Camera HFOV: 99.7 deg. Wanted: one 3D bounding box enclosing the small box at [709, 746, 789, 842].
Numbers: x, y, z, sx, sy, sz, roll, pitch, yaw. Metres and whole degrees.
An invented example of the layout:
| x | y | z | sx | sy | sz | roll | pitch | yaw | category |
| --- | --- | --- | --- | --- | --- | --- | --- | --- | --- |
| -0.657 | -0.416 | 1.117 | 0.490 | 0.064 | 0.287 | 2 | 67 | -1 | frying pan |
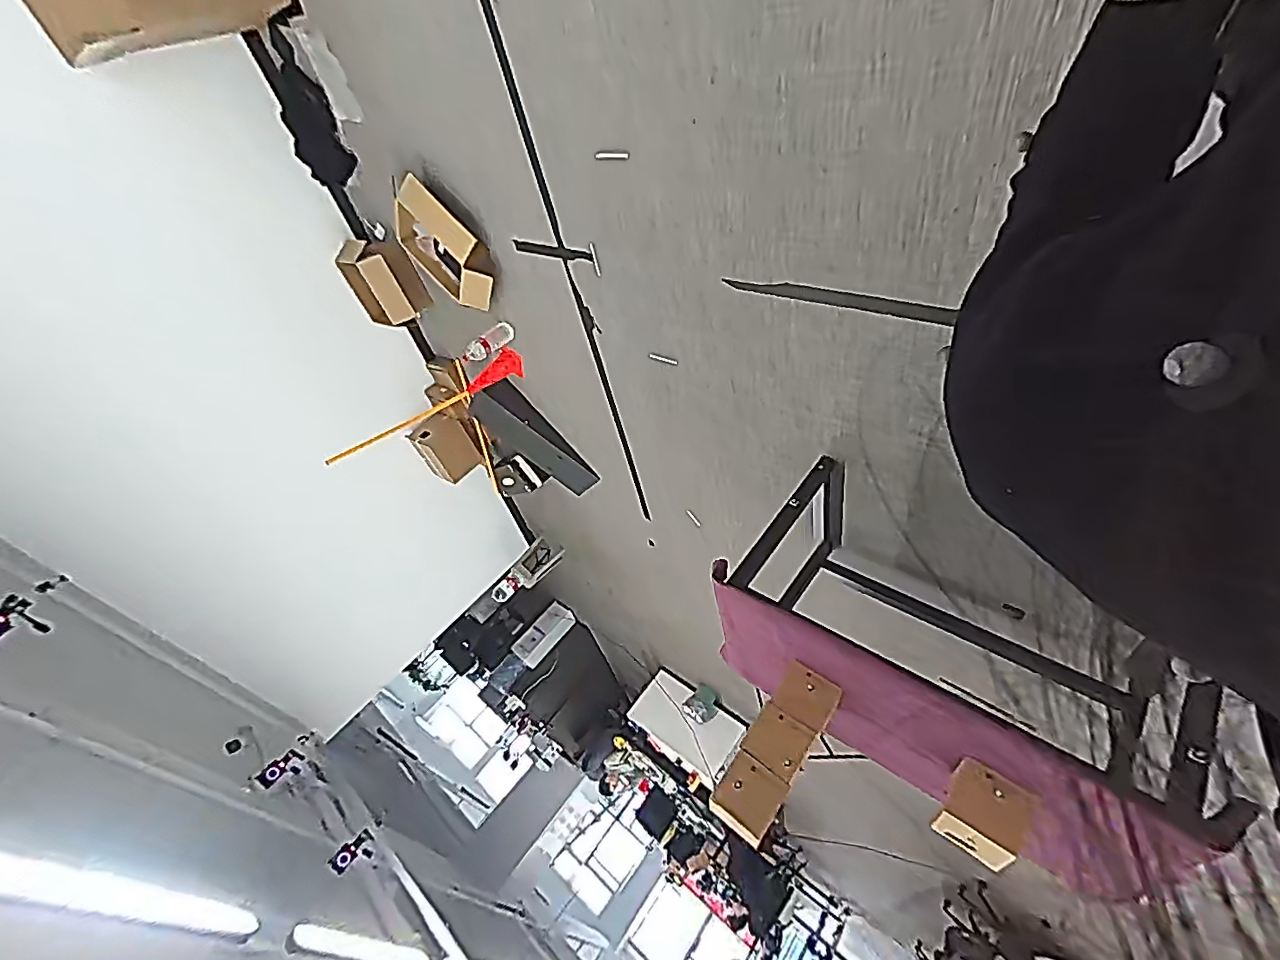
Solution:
| x | y | z | sx | sy | sz | roll | pitch | yaw | category |
| --- | --- | --- | --- | --- | --- | --- | --- | --- | --- |
| 0.317 | 0.910 | 1.574 | 0.168 | 0.176 | 0.179 | 30 | 151 | 29 | small box |

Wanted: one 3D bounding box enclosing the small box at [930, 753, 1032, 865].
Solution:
| x | y | z | sx | sy | sz | roll | pitch | yaw | category |
| --- | --- | --- | --- | --- | --- | --- | --- | --- | --- |
| 0.895 | 0.861 | 1.422 | 0.168 | 0.176 | 0.179 | 26 | 147 | 33 | small box |

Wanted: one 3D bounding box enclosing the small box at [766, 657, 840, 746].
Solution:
| x | y | z | sx | sy | sz | roll | pitch | yaw | category |
| --- | --- | --- | --- | --- | --- | --- | --- | --- | --- |
| 0.520 | 0.704 | 1.726 | 0.168 | 0.176 | 0.179 | 27 | 149 | 29 | small box |
